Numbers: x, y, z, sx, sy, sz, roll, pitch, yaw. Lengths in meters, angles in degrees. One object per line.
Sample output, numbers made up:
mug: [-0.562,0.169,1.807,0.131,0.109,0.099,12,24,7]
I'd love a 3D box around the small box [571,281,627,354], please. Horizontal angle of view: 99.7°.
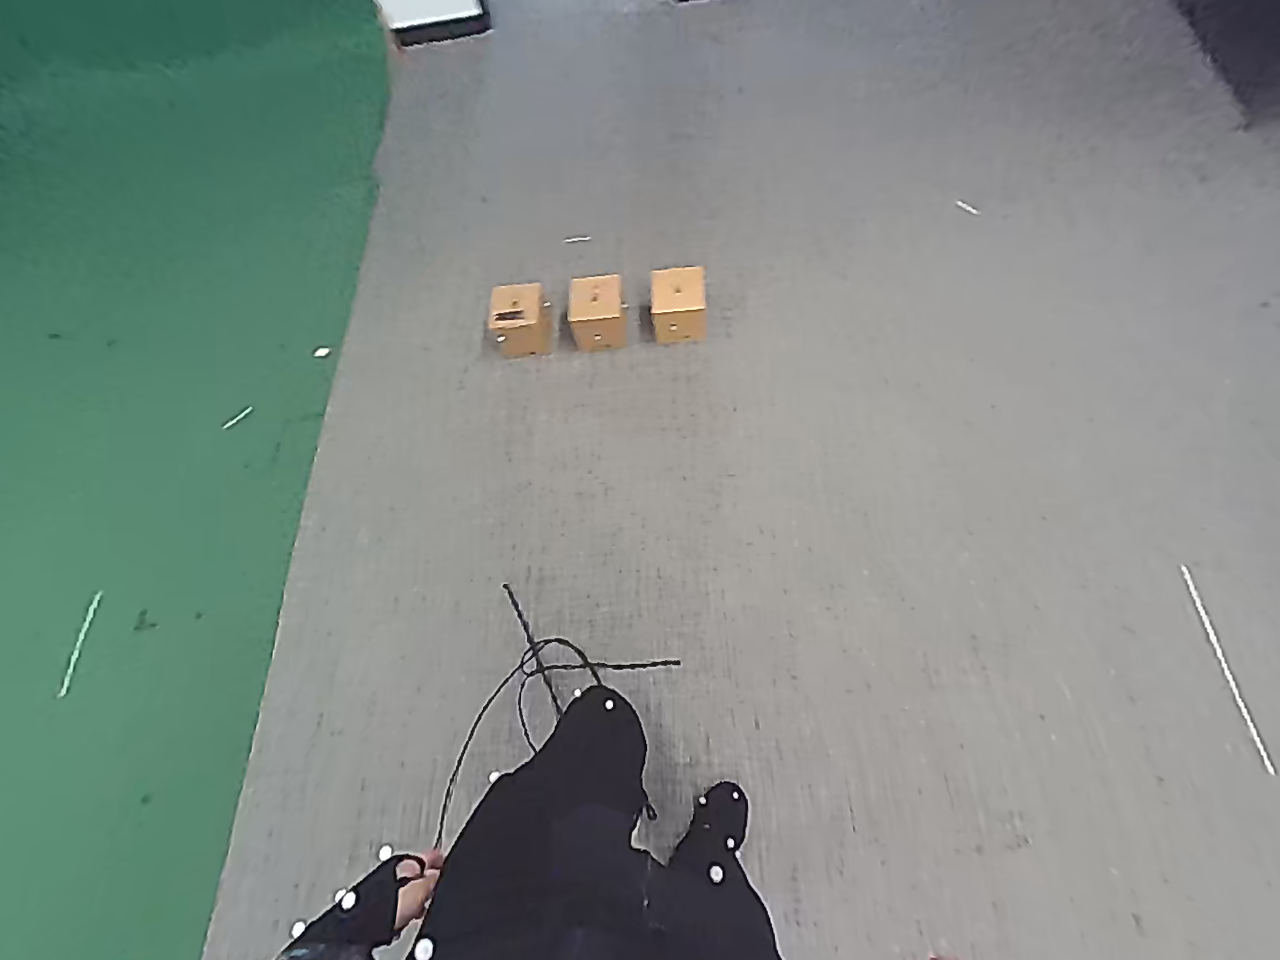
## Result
small box: [-0.134,-0.541,1.830,0.168,0.176,0.179,-3,66,5]

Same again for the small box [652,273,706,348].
small box: [0.132,-0.559,1.808,0.168,0.176,0.179,-4,66,6]
